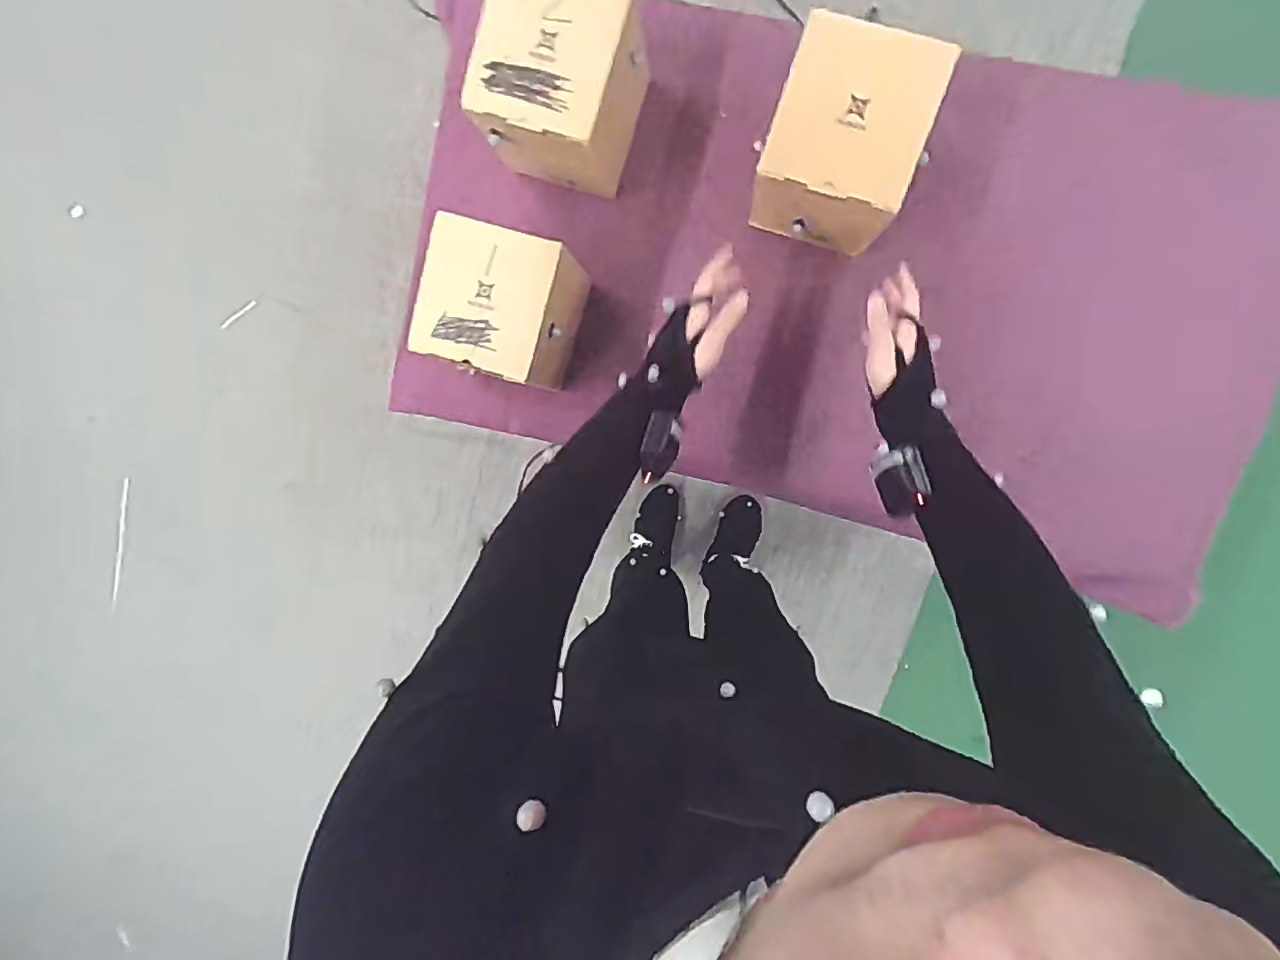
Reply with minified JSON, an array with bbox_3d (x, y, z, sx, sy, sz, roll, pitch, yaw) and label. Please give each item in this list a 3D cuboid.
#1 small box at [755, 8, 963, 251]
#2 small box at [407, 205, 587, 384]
[{"bbox_3d":[0.249,-0.413,0.669,0.168,0.176,0.179,19,100,4],"label":"small box"},{"bbox_3d":[-0.184,-0.238,0.741,0.168,0.176,0.179,18,98,4],"label":"small box"}]
